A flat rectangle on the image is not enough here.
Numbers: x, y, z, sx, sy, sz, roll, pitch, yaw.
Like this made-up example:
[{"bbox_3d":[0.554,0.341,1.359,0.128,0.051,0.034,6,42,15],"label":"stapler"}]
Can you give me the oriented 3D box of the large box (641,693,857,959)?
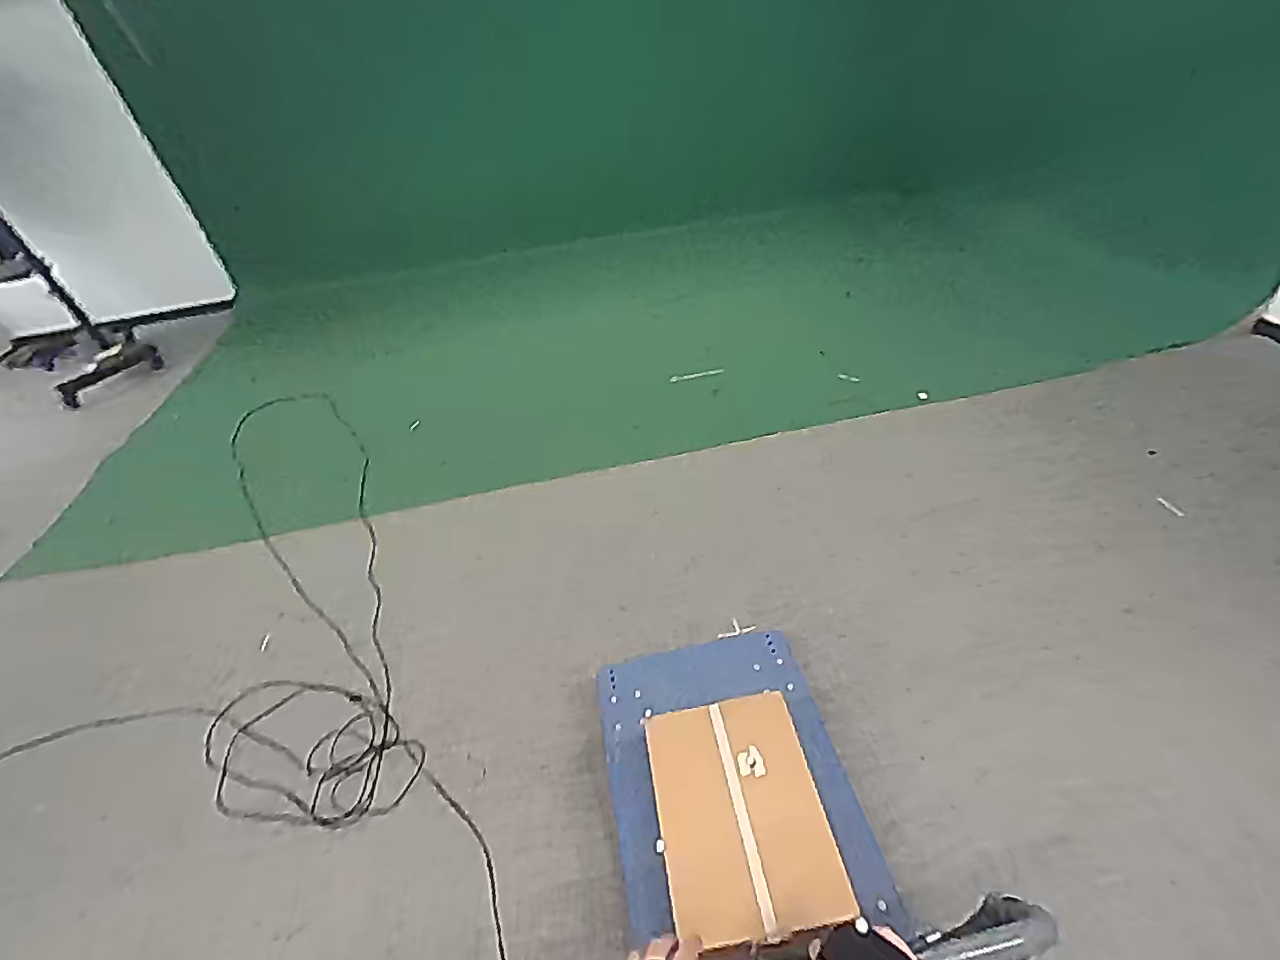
[{"bbox_3d":[0.200,0.733,1.133,0.320,0.320,0.408,-10,41,-3],"label":"large box"}]
